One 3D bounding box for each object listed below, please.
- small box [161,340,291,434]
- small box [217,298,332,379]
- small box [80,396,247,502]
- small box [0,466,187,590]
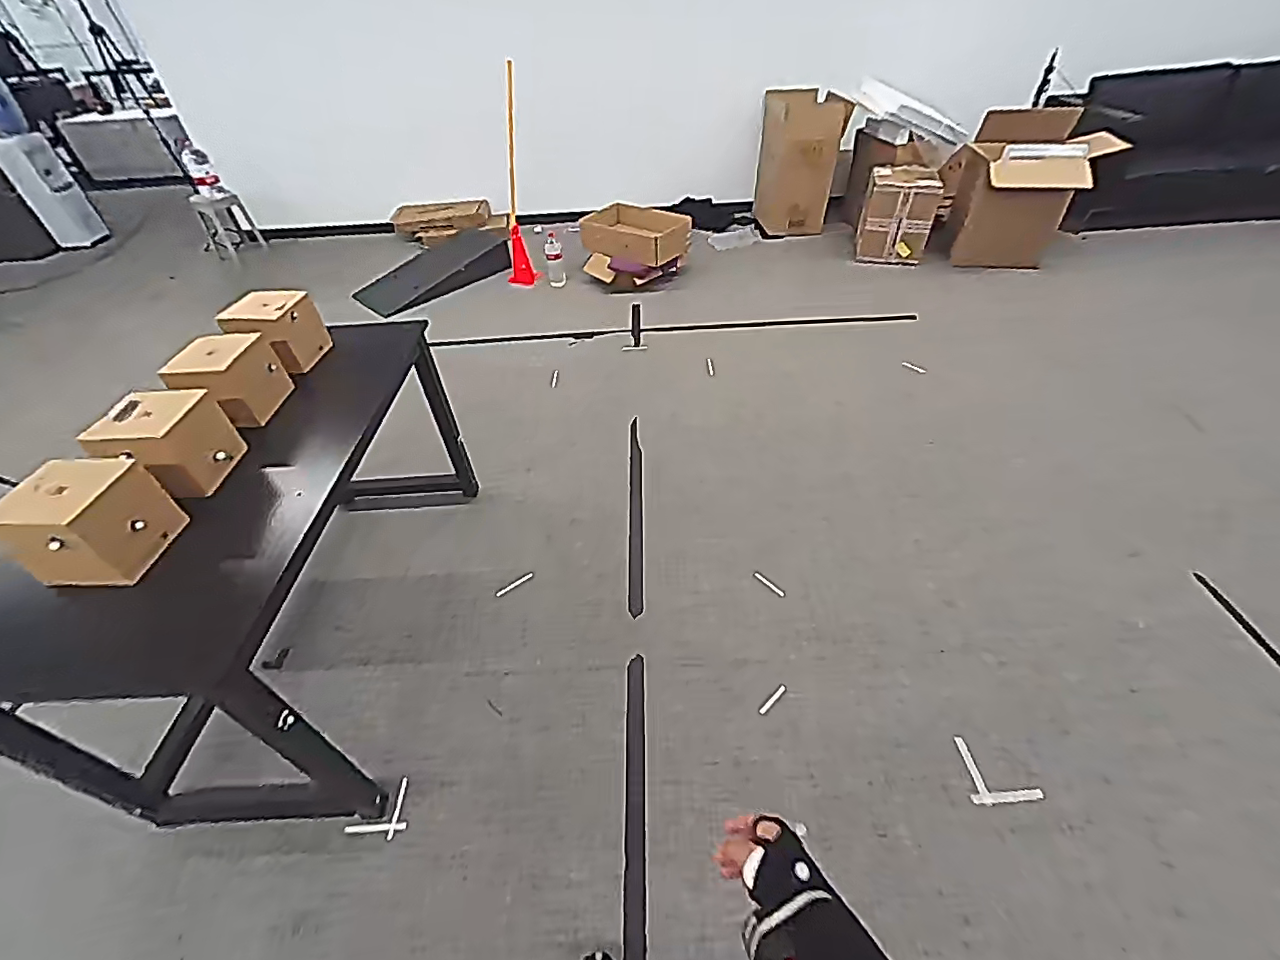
[{"bbox_3d":[-1.018,-0.231,1.353,0.168,0.176,0.179,-4,44,2],"label":"small box"},{"bbox_3d":[-1.020,-0.397,1.527,0.179,0.176,0.168,0,44,6],"label":"small box"},{"bbox_3d":[-1.012,-0.063,1.169,0.179,0.176,0.168,-3,43,0],"label":"small box"},{"bbox_3d":[-1.014,0.090,1.005,0.179,0.176,0.168,-1,42,4],"label":"small box"}]
